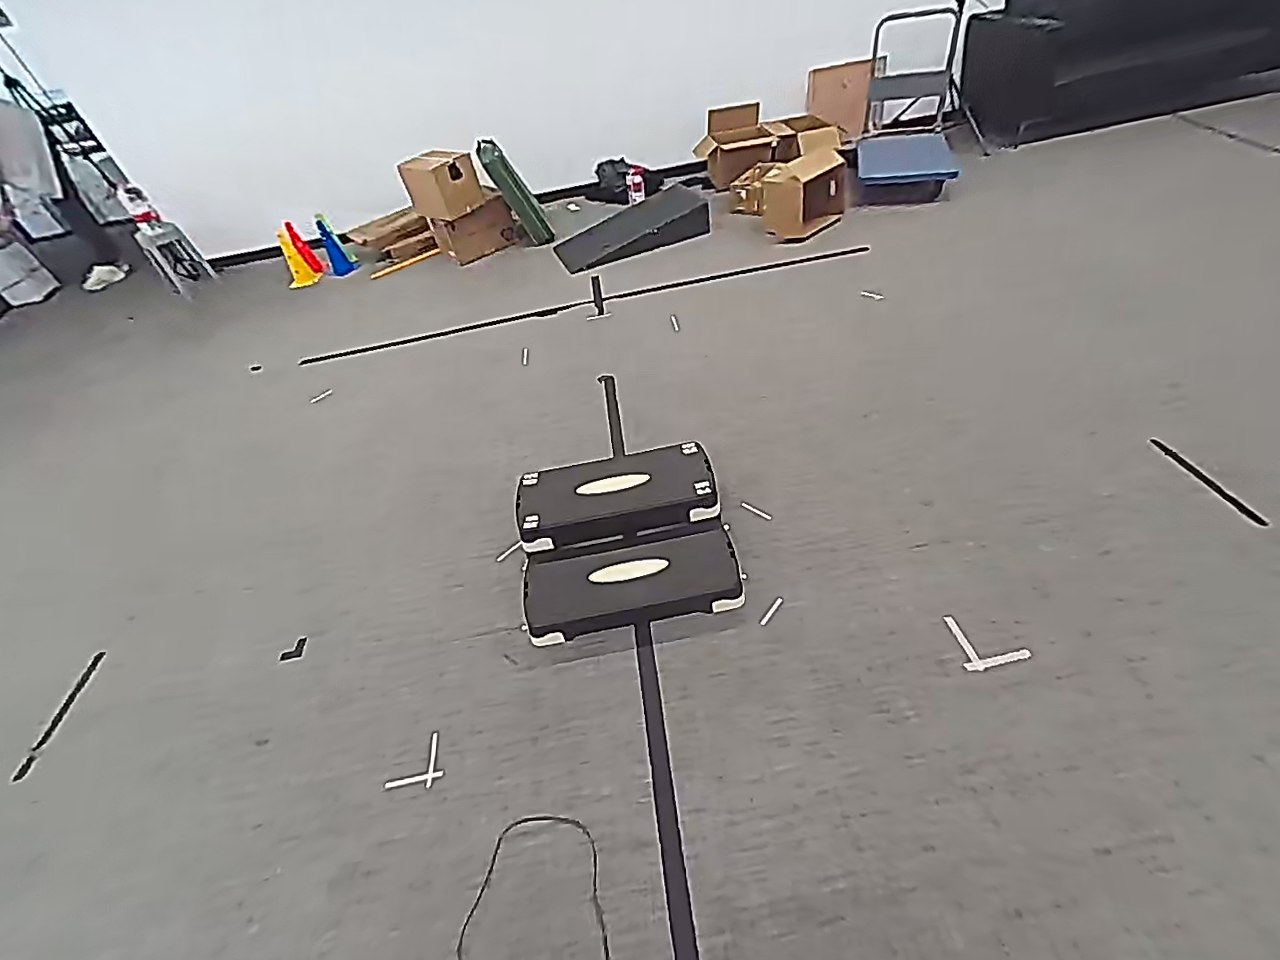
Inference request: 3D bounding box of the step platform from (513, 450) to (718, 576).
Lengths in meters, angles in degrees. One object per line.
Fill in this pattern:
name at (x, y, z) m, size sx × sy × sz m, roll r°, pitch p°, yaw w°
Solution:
step platform at (-0.084, 0.105, 1.847) m, size 0.684 × 0.204 × 0.286 m, roll -11°, pitch 45°, yaw -1°
